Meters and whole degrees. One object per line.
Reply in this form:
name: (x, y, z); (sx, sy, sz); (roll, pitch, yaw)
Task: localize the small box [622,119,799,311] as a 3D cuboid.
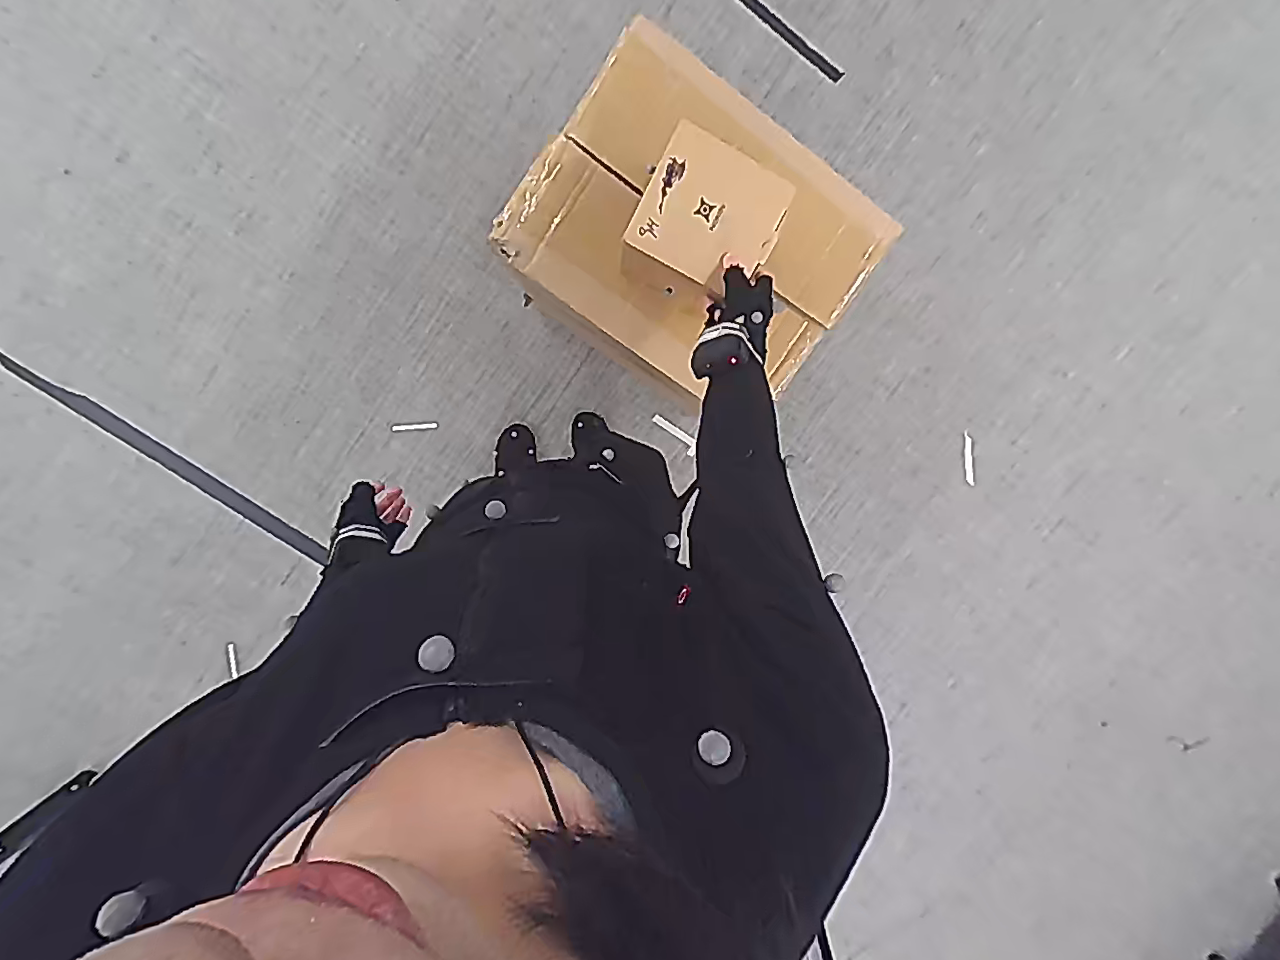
small box: (0.087, -0.355, 0.768); (0.179, 0.176, 0.168); (26, 97, -8)
